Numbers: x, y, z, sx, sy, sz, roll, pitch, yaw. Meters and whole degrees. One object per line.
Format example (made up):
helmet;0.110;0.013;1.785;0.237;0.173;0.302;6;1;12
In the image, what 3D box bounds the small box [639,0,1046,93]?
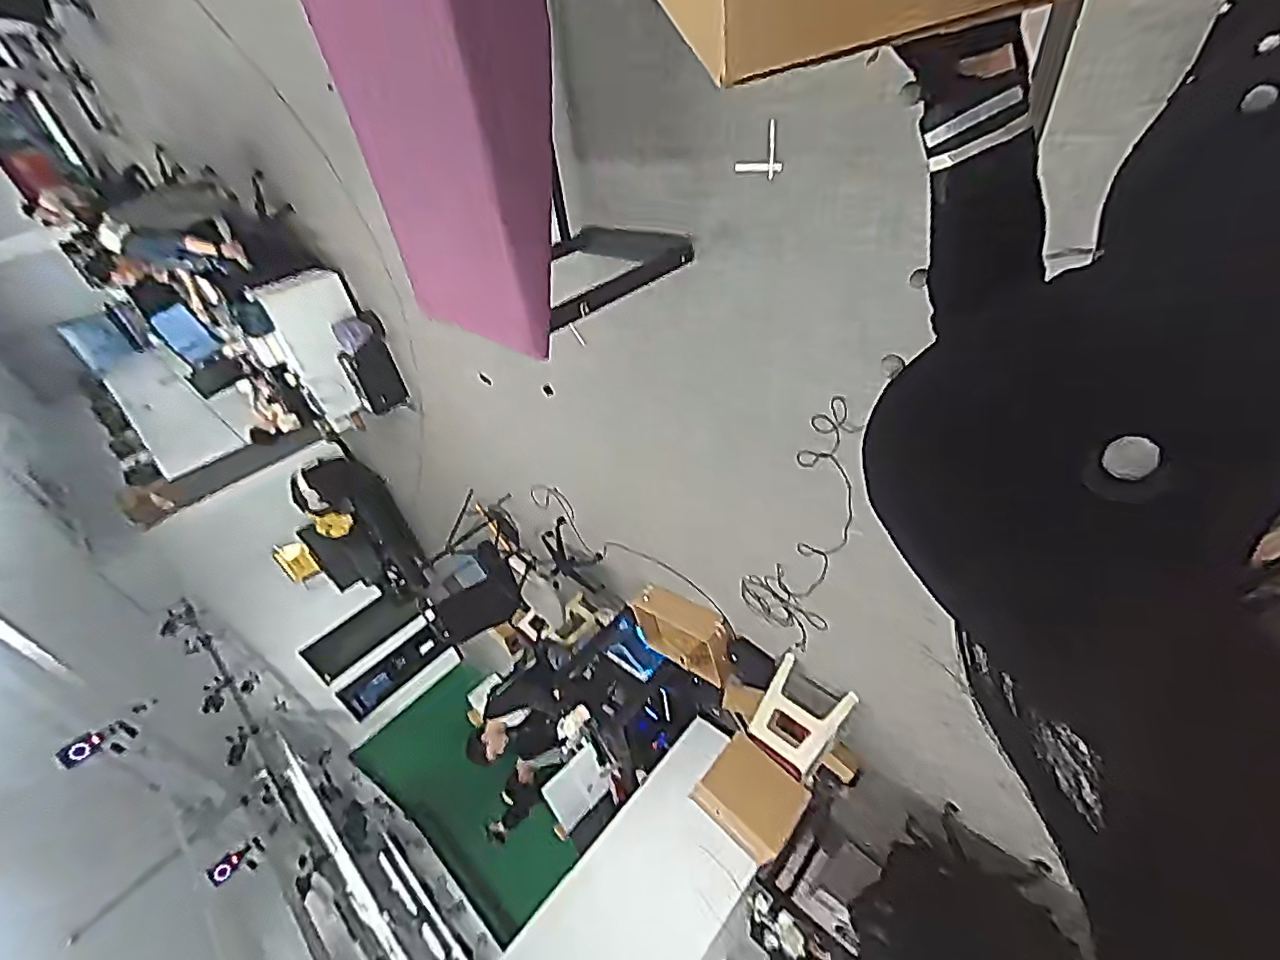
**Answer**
small box;0.078;-0.293;0.203;0.176;0.179;0.168;74;-177;-55
